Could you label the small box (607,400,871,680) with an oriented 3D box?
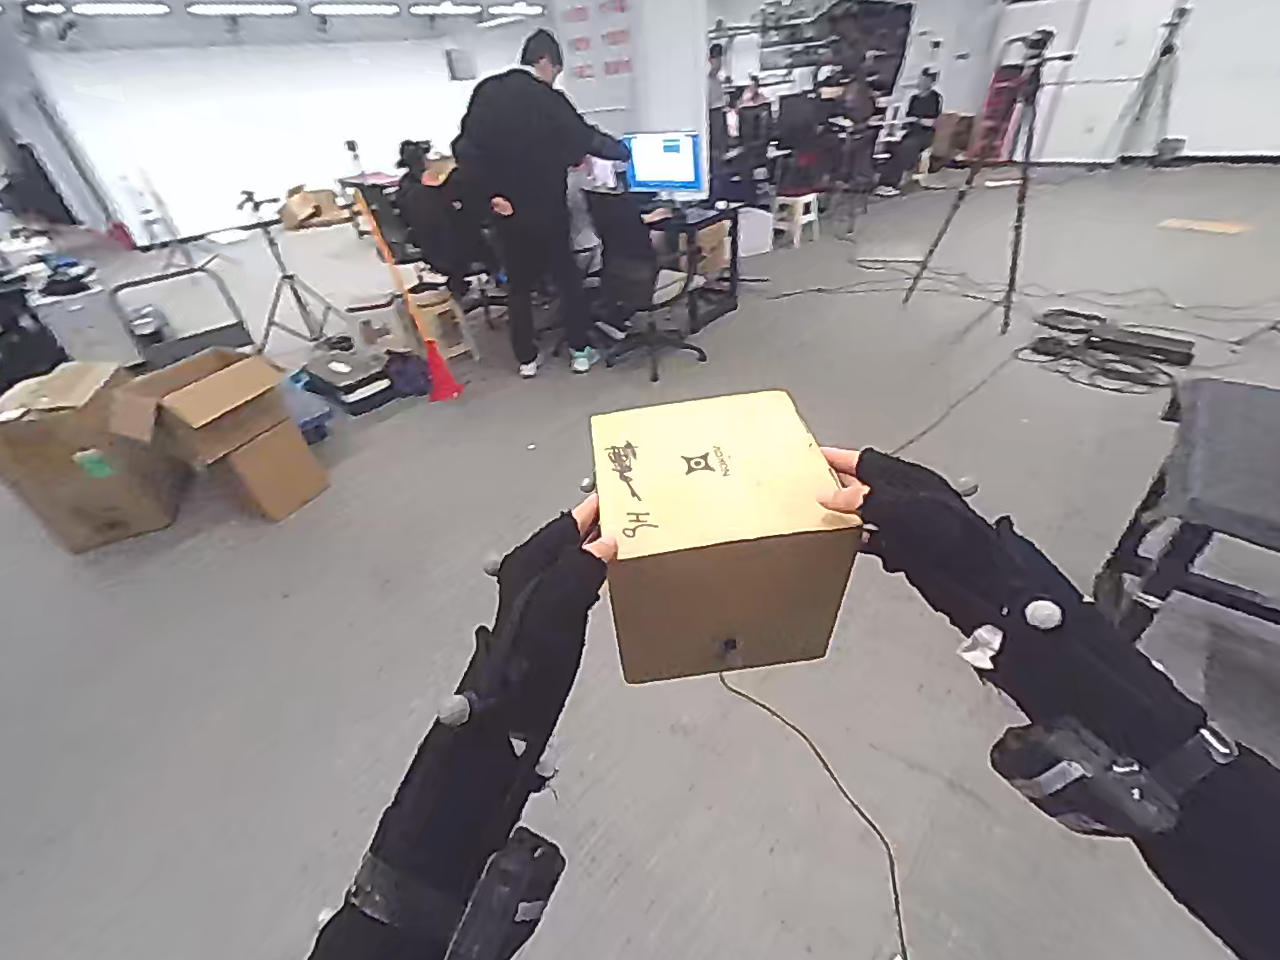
[{"bbox_3d":[0.068,0.052,0.472,0.179,0.176,0.168,-7,41,-2],"label":"small box"}]
